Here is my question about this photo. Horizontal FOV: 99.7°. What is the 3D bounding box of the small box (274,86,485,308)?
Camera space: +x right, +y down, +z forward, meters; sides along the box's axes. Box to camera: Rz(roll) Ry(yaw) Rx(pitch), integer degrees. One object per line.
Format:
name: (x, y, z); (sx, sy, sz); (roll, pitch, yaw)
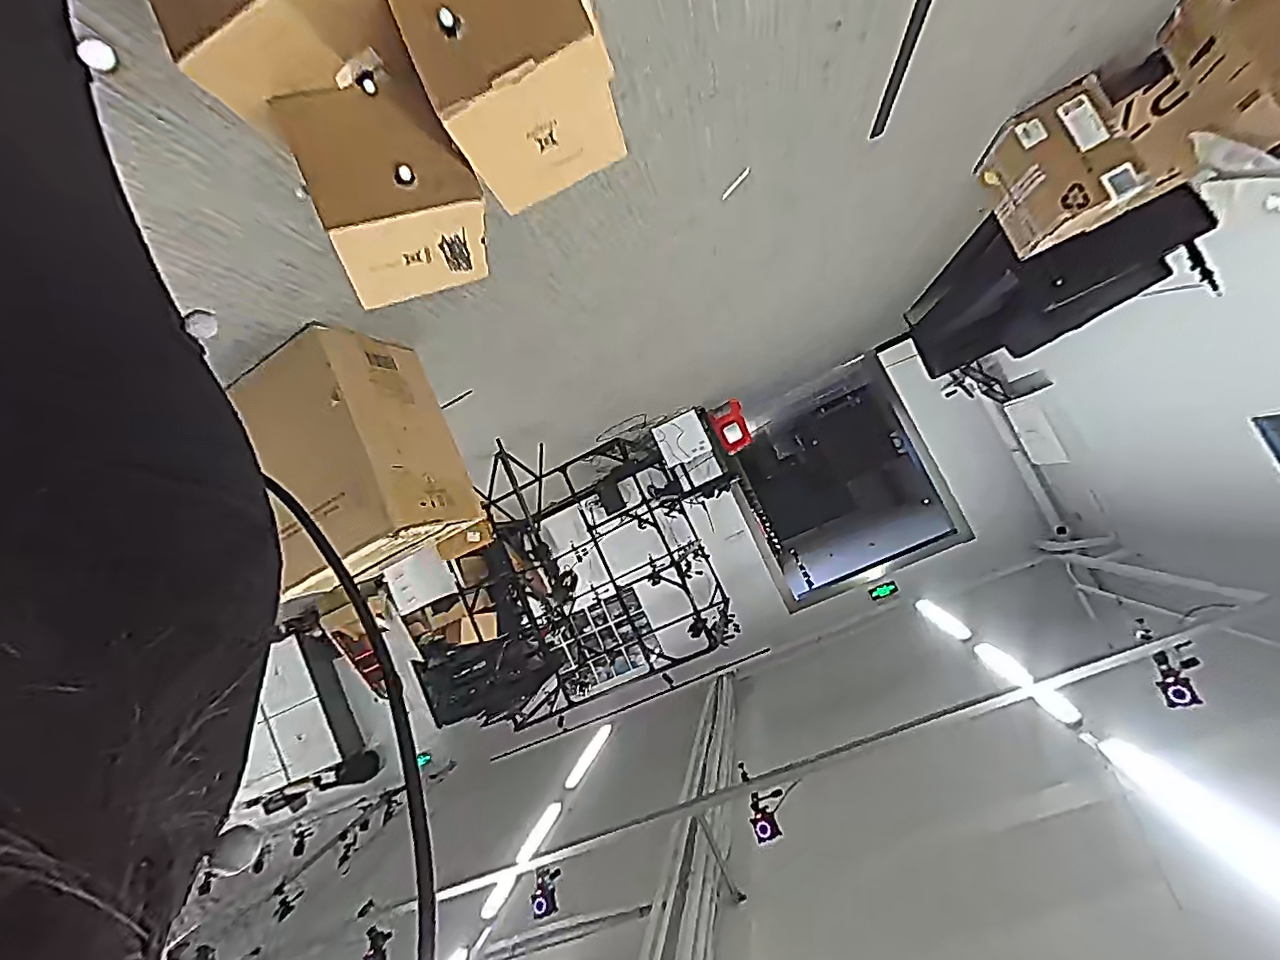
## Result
small box: (-0.308, -0.348, 0.671); (0.179, 0.176, 0.168); (-22, 174, -19)

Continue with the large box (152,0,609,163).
large box: (-0.306, -0.622, 0.647); (0.408, 0.320, 0.320); (-24, 174, 10)

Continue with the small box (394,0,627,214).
small box: (-0.132, -0.439, 0.584); (0.168, 0.176, 0.179); (-23, 175, 7)
